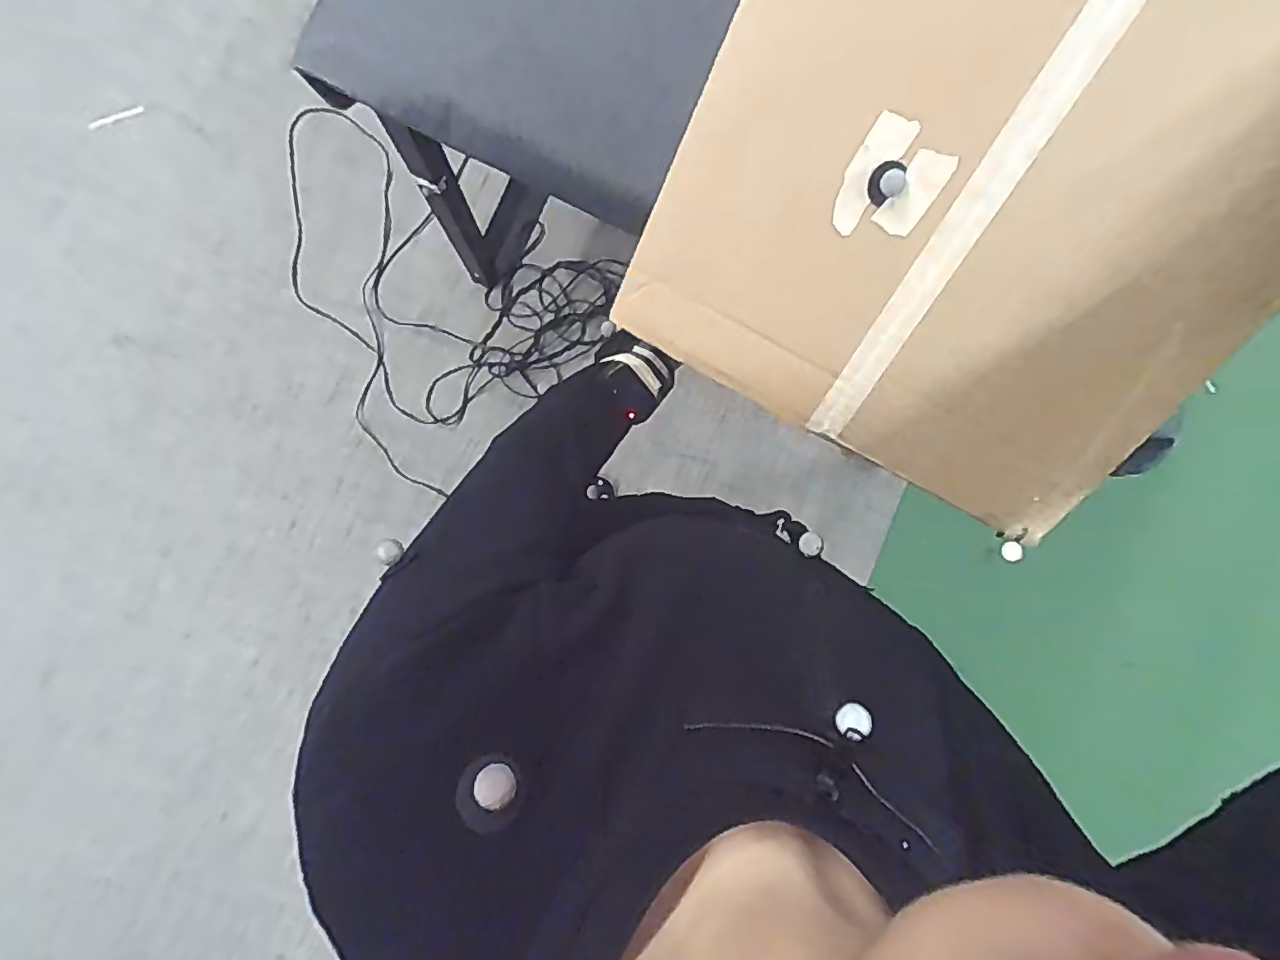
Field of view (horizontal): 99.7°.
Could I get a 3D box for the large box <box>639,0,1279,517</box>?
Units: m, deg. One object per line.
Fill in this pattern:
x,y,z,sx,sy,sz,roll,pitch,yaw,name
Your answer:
0.243,-0.261,0.400,0.320,0.320,0.408,28,119,2,large box
